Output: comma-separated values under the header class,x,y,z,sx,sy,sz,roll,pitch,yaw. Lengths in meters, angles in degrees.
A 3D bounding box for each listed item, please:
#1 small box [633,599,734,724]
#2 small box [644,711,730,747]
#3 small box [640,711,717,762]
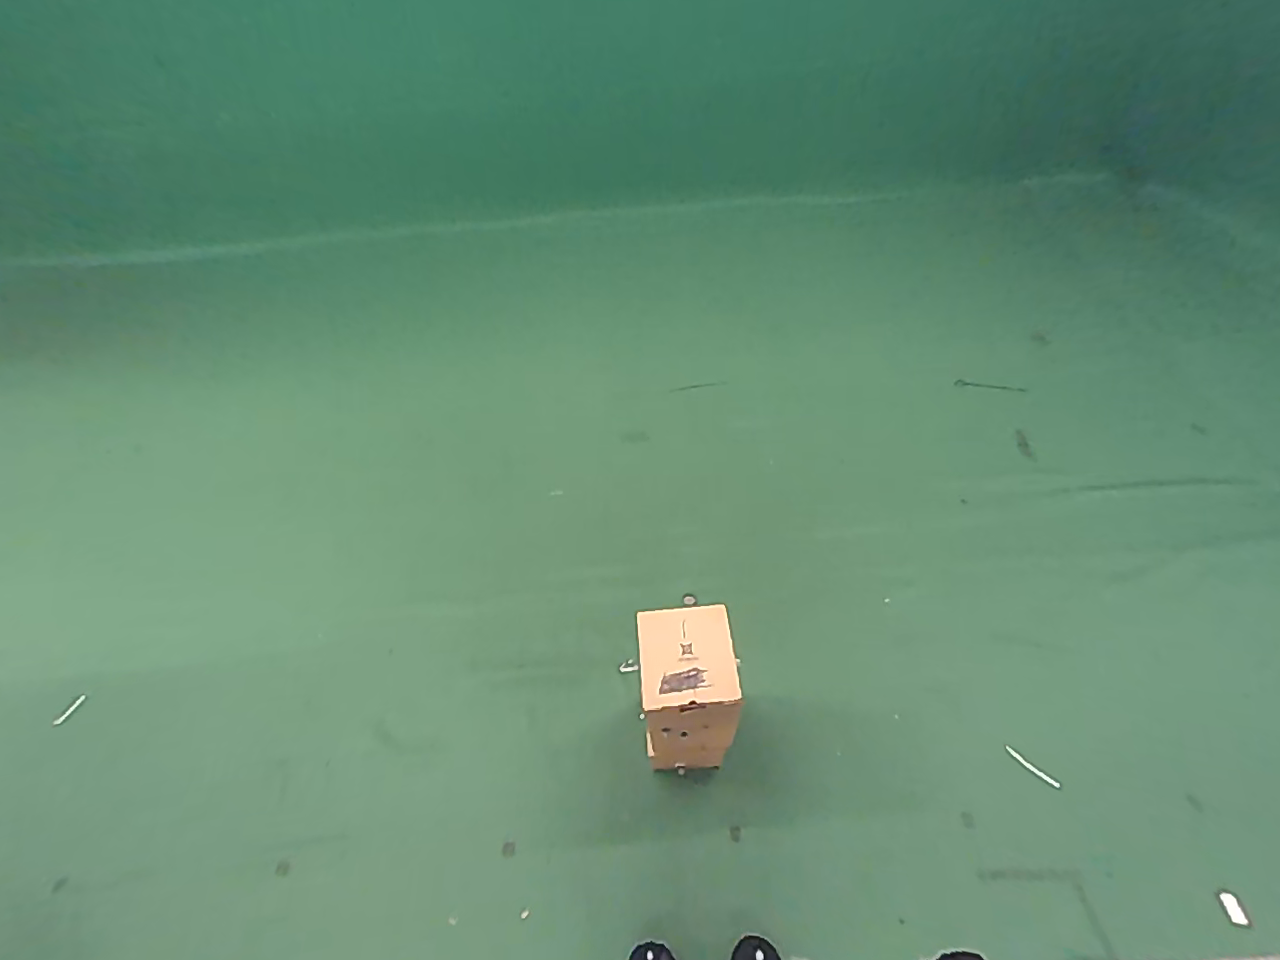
class,x,y,z,sx,sy,sz,roll,pitch,yaw
small box,0.077,0.343,1.006,0.168,0.176,0.179,-5,51,0
small box,0.088,0.442,1.136,0.168,0.176,0.179,-5,51,0
small box,0.085,0.536,1.248,0.168,0.176,0.179,-3,53,3
